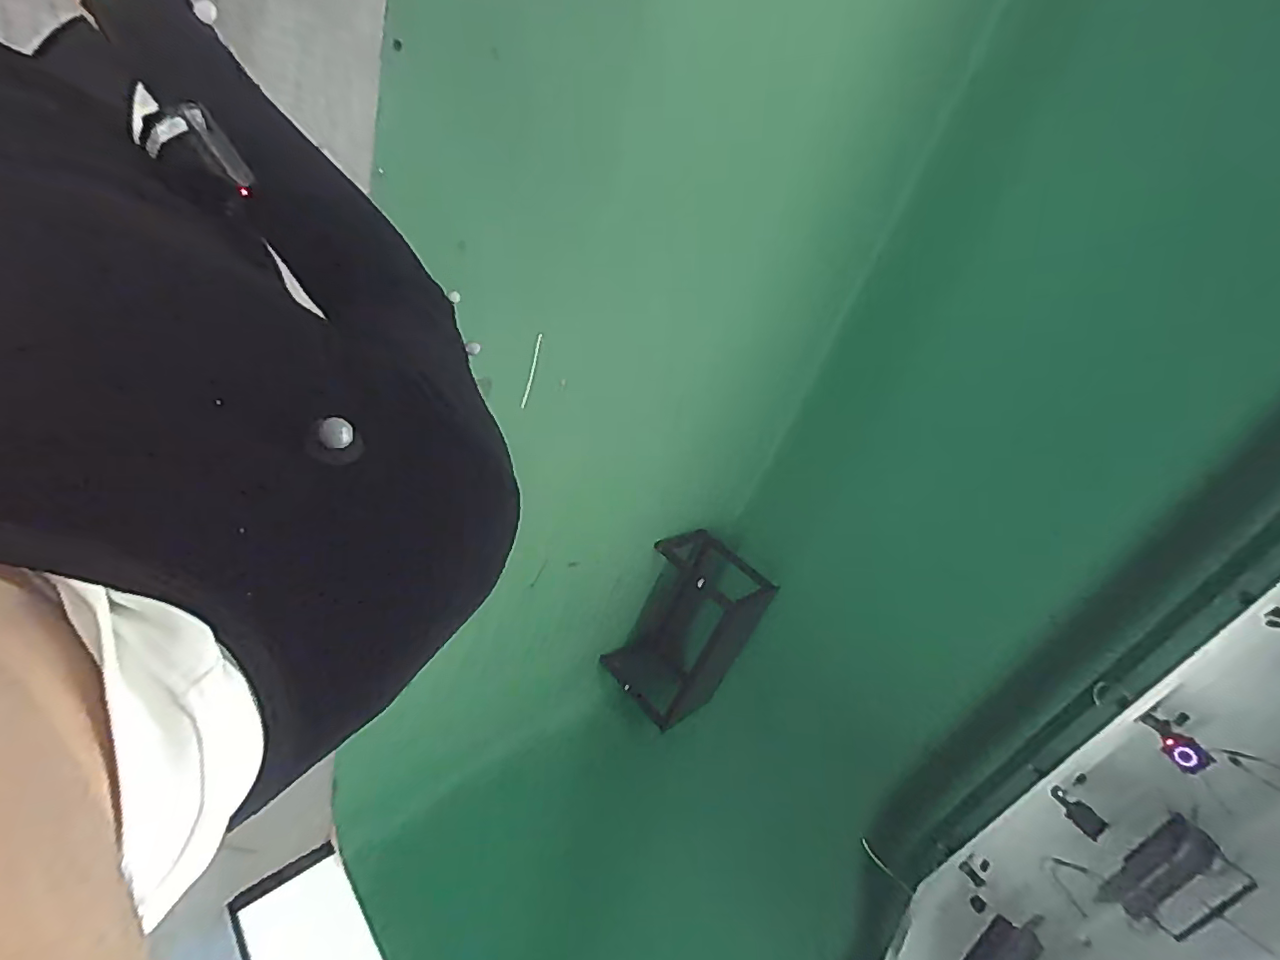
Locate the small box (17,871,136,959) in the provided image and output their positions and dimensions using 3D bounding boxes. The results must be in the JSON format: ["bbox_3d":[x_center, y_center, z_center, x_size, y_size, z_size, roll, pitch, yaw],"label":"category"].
[{"bbox_3d":[-1.344,1.089,1.292,0.168,0.176,0.179,-15,134,-44],"label":"small box"}]
